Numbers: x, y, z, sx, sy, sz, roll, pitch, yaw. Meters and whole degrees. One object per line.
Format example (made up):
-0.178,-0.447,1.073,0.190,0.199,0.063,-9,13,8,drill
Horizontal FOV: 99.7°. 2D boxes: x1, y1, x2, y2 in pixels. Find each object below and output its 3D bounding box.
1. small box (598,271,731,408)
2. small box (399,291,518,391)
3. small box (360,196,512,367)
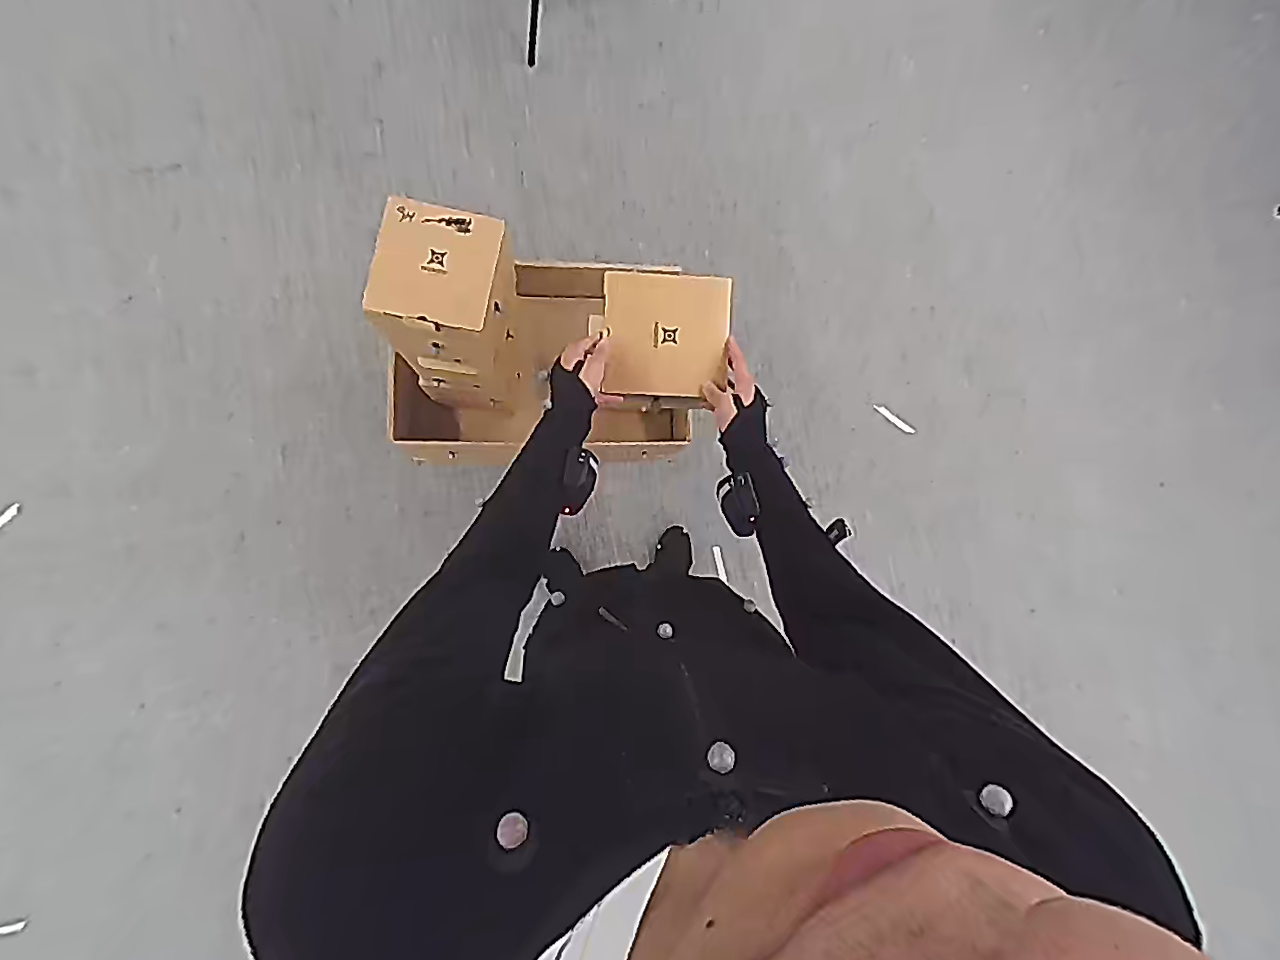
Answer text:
0.029,-0.200,0.813,0.179,0.176,0.168,2,92,-3,small box
-0.322,-0.276,0.995,0.168,0.176,0.179,7,82,-7,small box
-0.299,-0.290,0.832,0.168,0.176,0.179,11,82,-7,small box
